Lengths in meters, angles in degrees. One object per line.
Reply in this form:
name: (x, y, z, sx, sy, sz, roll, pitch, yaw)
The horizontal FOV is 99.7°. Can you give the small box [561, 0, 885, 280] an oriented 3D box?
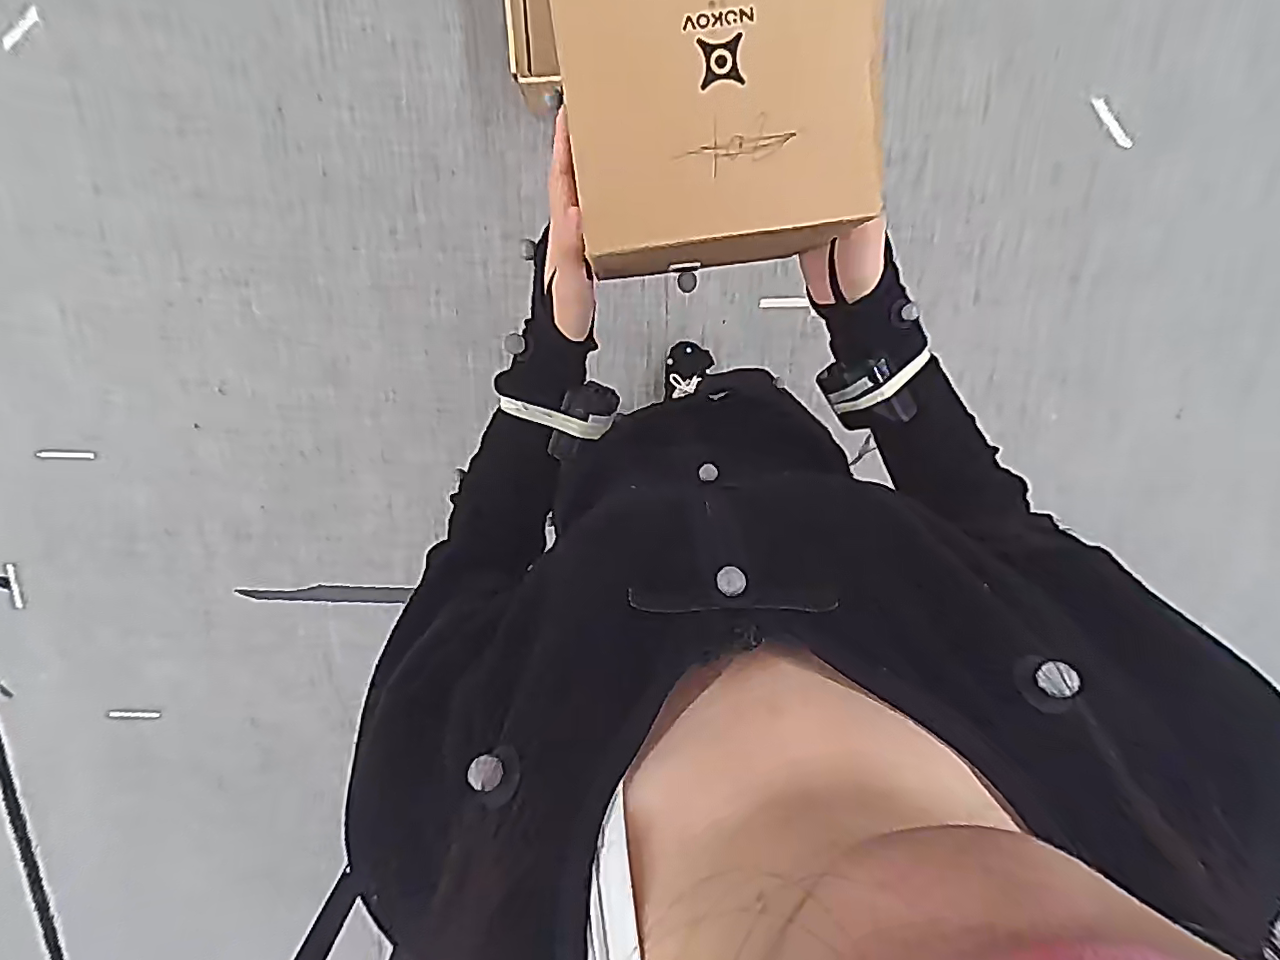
small box: (0.041, -0.241, 0.356, 0.168, 0.176, 0.179, -8, 106, 1)
